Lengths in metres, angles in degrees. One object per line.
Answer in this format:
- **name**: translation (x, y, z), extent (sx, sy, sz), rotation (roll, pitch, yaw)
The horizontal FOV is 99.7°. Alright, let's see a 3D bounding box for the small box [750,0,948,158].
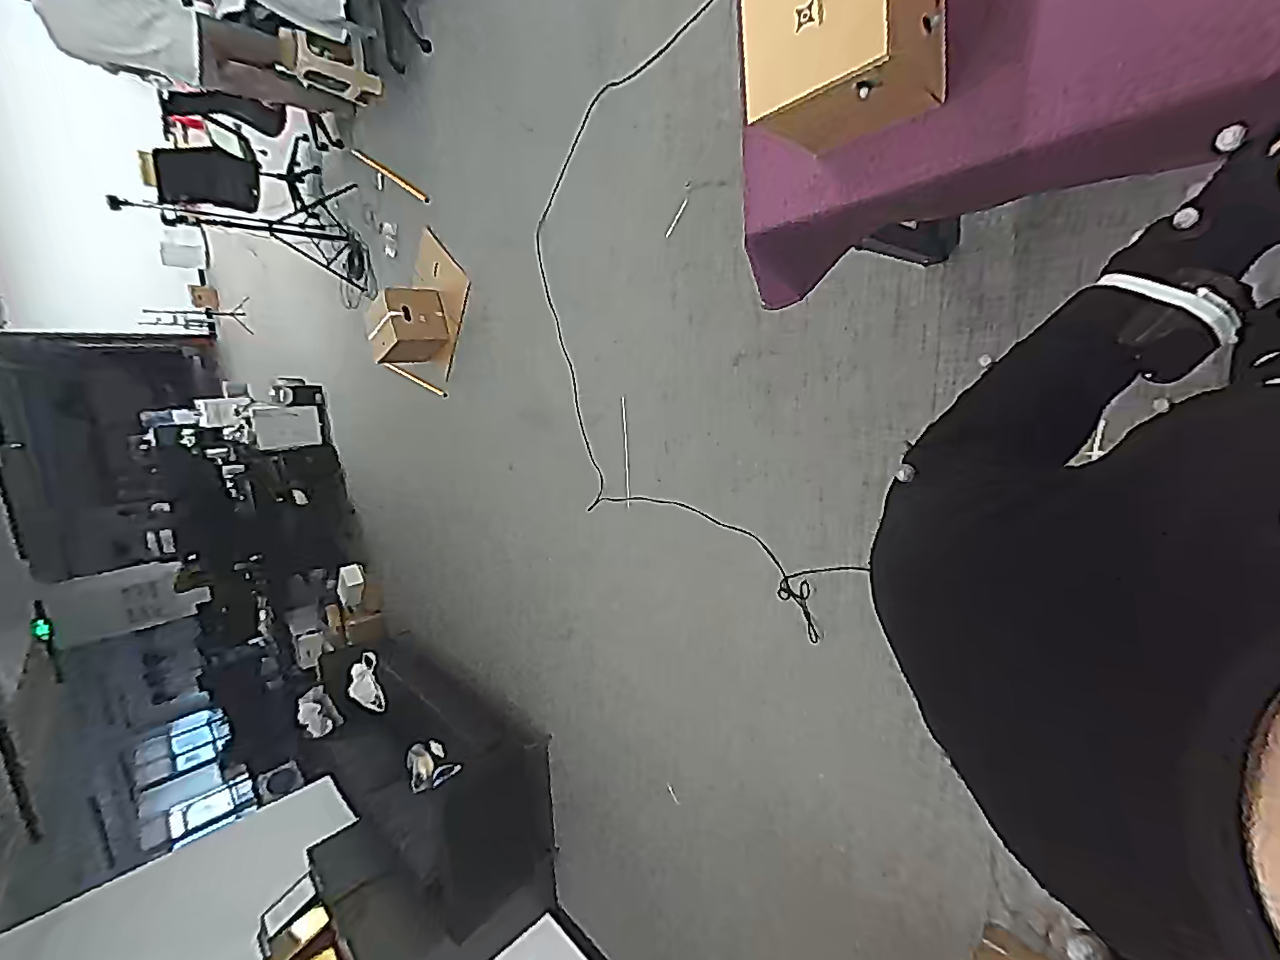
- **small box**: translation (0.256, -0.528, 0.666), extent (0.179, 0.176, 0.168), rotation (4, 101, 46)
